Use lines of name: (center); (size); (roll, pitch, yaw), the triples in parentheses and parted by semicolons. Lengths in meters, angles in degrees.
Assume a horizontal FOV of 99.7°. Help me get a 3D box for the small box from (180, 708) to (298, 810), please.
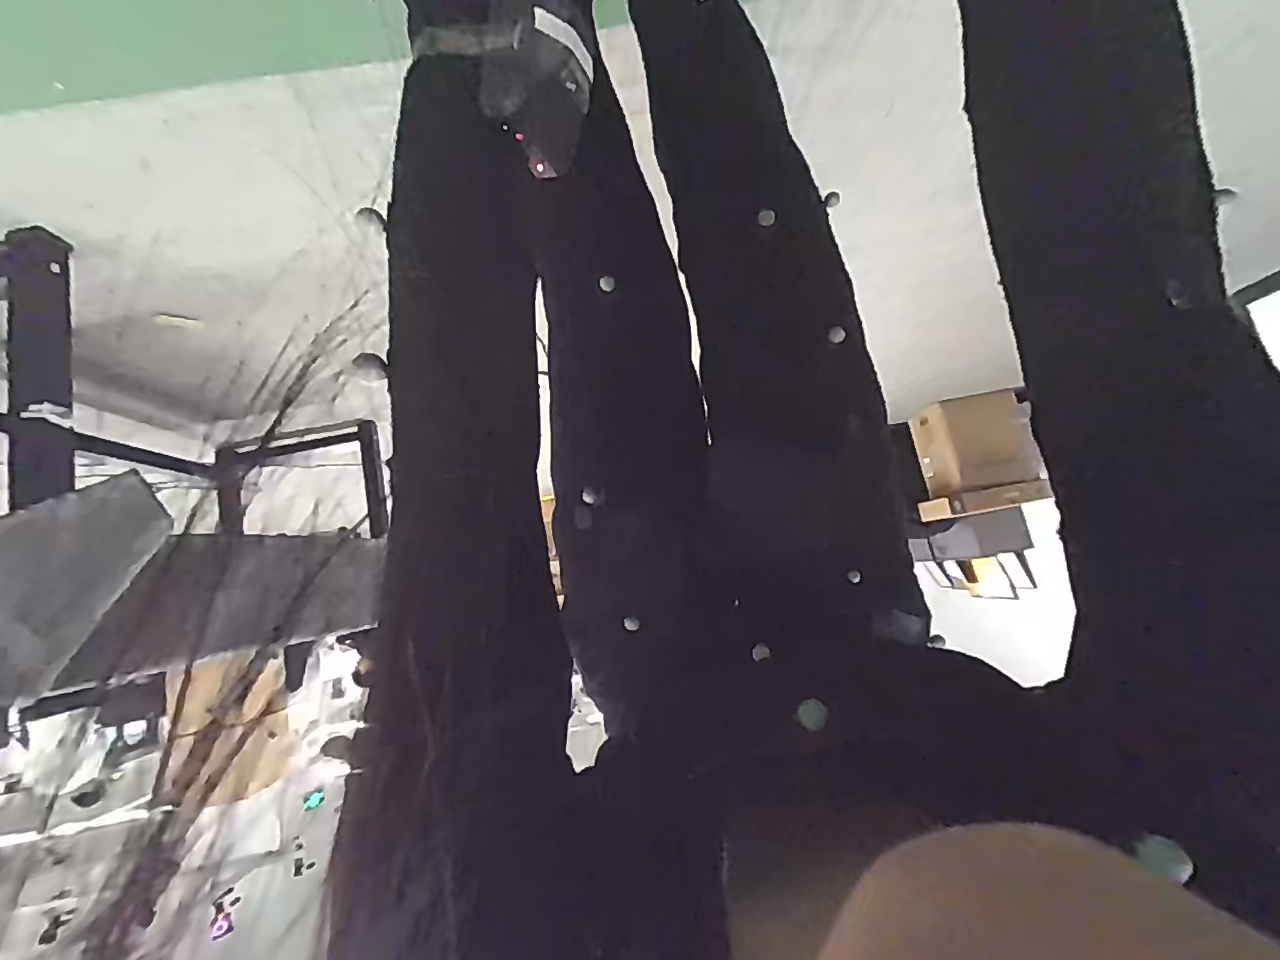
small box: (-0.975, 0.672, 1.324); (0.179, 0.176, 0.168); (-11, 170, -2)

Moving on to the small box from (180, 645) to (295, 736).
small box: (-1.006, 0.515, 1.353); (0.179, 0.176, 0.168); (-10, 170, -1)
